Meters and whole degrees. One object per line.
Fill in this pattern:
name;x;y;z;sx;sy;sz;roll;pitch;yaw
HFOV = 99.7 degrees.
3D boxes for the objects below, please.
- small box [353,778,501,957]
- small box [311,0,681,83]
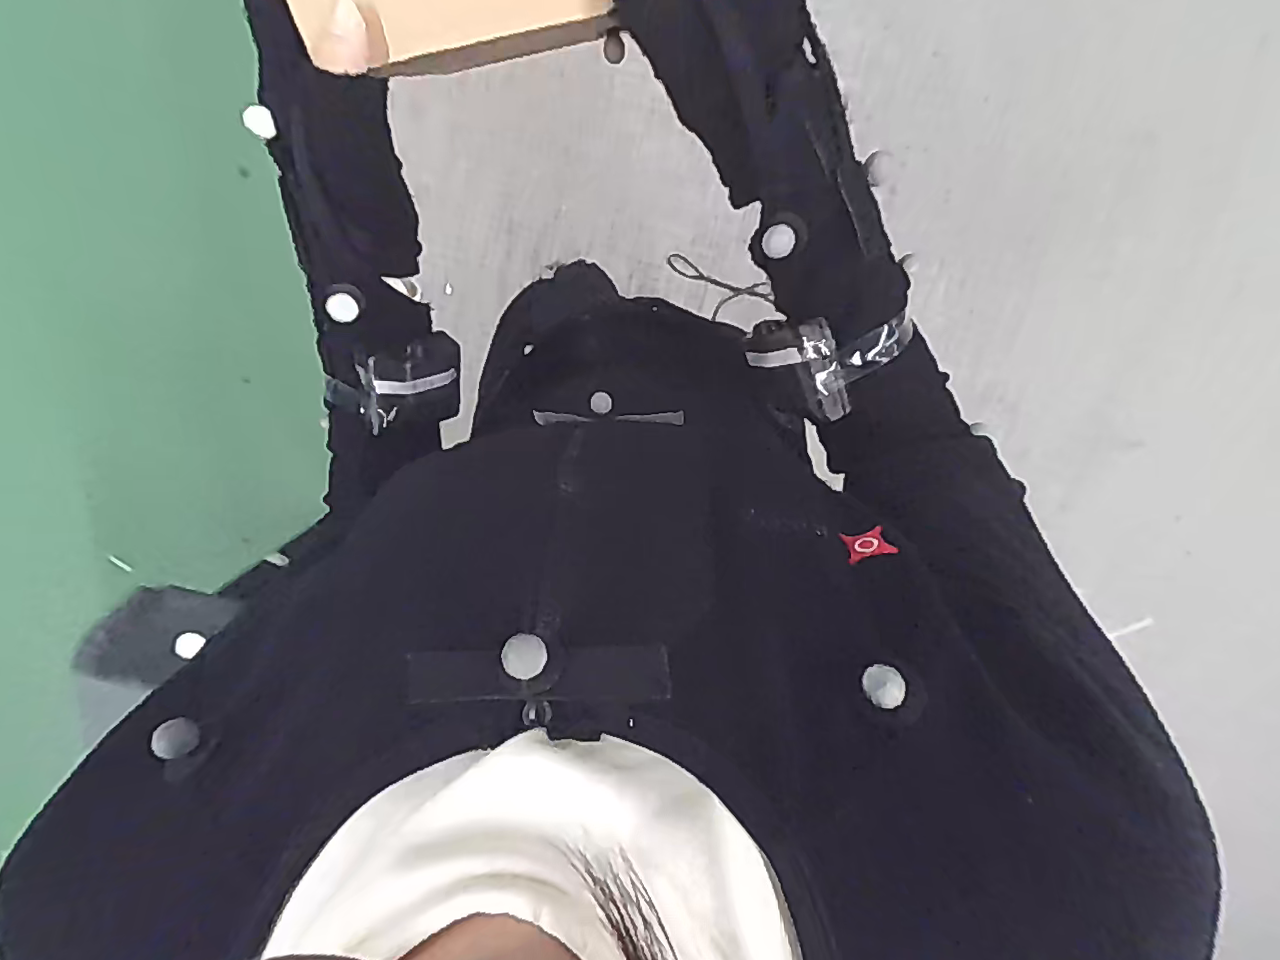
small box;-0.339;0.624;0.885;0.179;0.176;0.168;12;114;0
small box;-0.064;-0.305;0.244;0.179;0.176;0.168;-9;127;10
